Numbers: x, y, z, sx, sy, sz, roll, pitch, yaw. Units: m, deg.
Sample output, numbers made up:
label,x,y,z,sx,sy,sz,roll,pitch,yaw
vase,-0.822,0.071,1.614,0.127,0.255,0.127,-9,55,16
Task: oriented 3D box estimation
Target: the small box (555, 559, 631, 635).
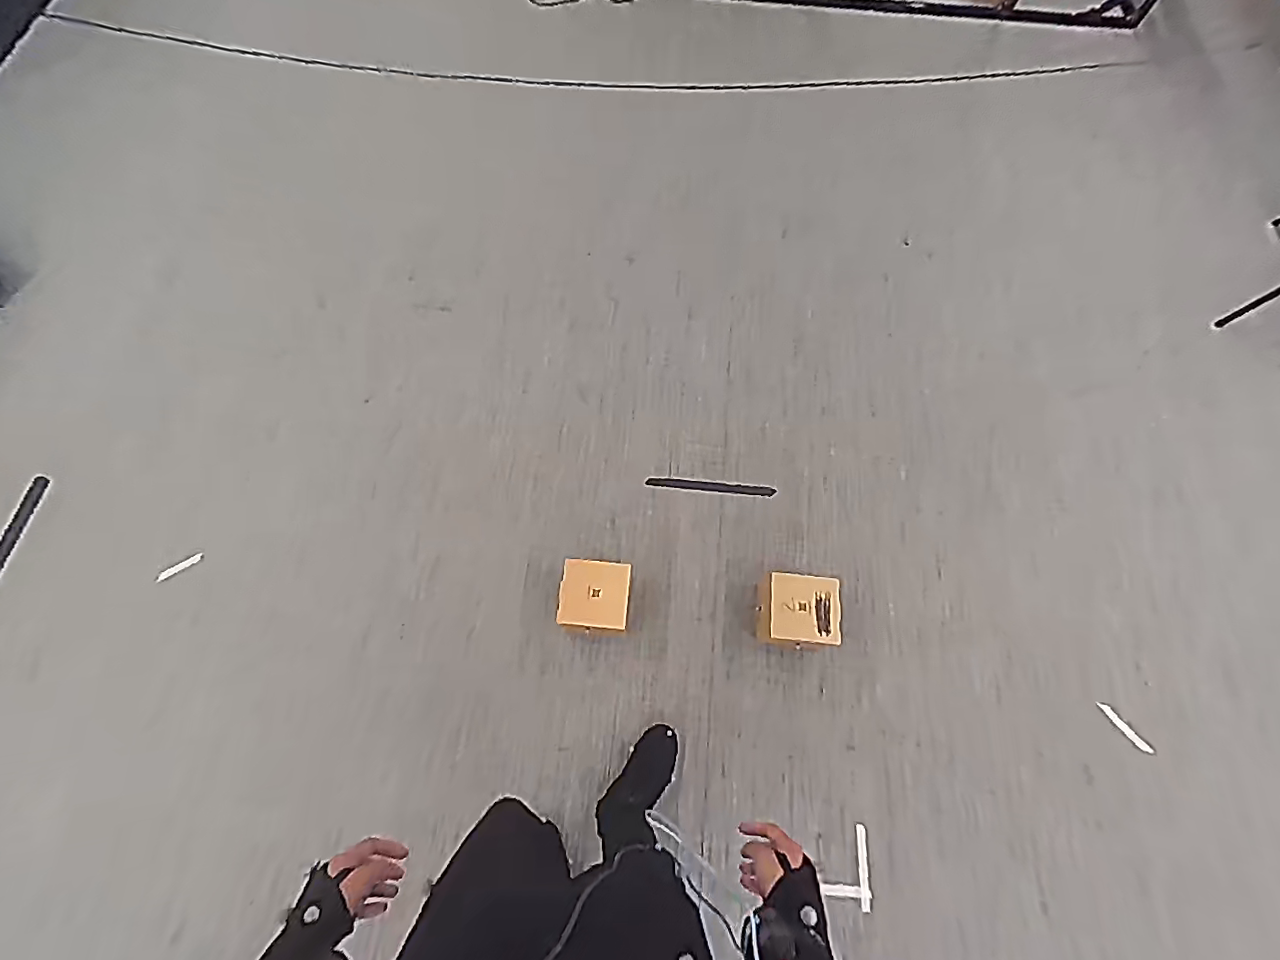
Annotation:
label,x,y,z,sx,sy,sz,roll,pitch,yaw
small box,-0.118,0.316,1.440,0.179,0.176,0.168,5,69,2
